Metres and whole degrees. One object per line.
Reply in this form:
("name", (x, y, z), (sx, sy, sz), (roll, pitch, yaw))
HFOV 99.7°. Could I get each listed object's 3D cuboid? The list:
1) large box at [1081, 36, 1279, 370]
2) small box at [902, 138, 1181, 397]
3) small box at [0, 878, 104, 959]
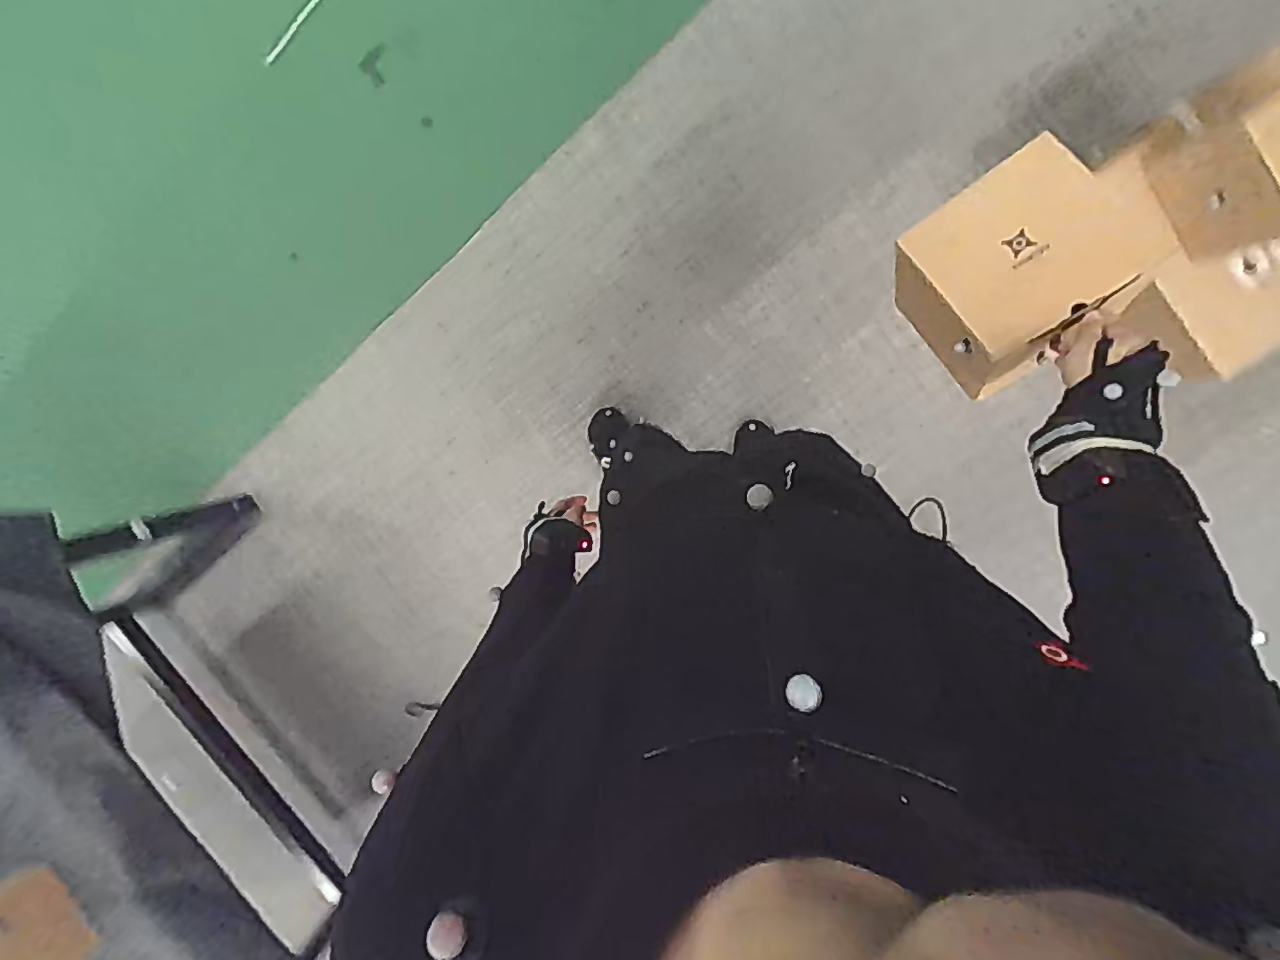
("large box", (0.971, -0.451, 0.992), (0.320, 0.320, 0.408), (-38, 94, 14))
("small box", (0.418, -0.220, 0.608), (0.168, 0.176, 0.179), (-33, 73, 17))
("small box", (-1.042, 0.784, 0.866), (0.168, 0.176, 0.179), (-29, 96, 14))
